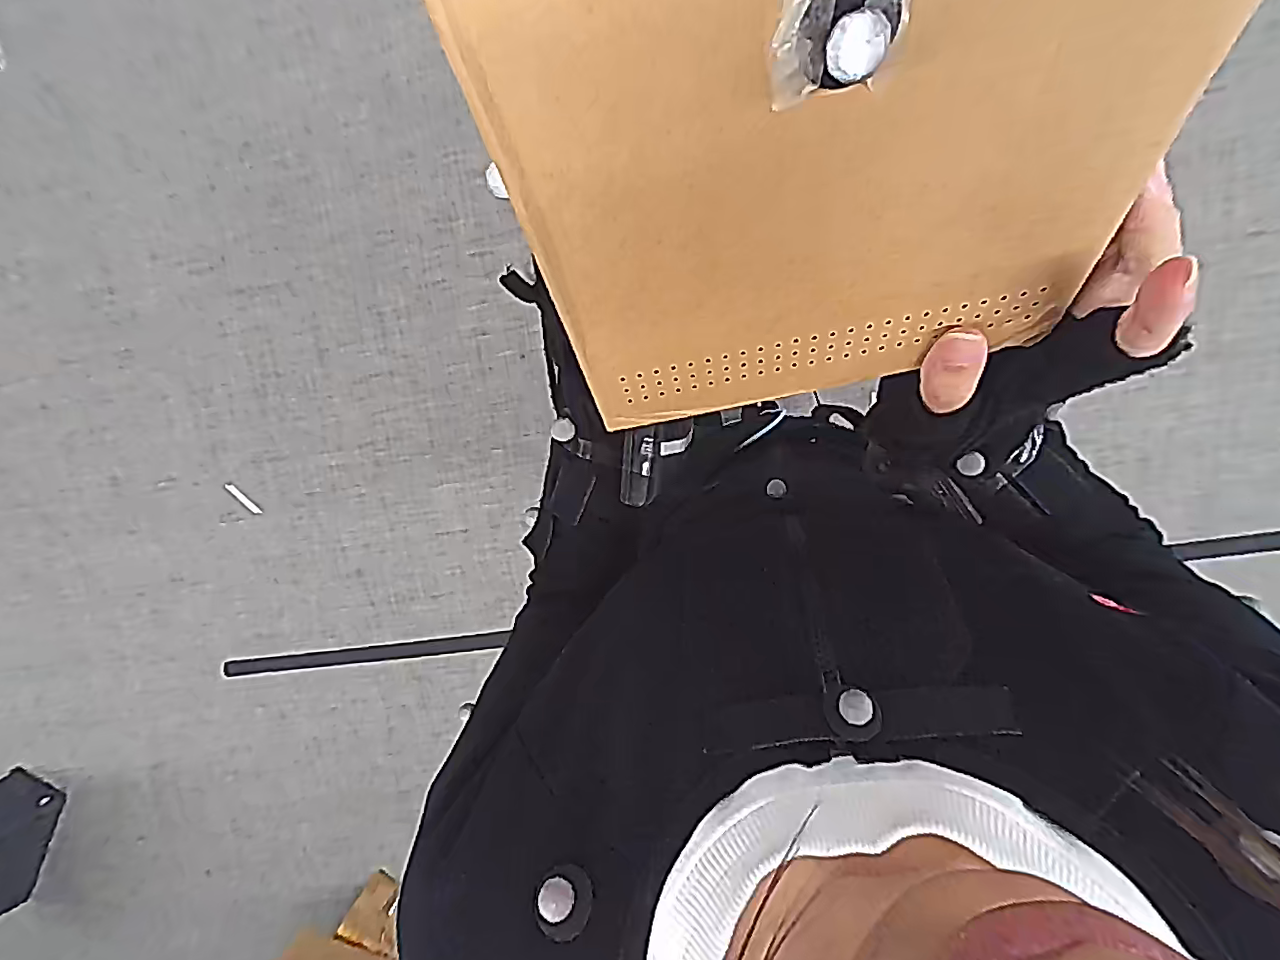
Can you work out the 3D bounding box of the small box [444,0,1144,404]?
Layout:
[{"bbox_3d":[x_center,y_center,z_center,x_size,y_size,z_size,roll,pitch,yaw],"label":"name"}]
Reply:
[{"bbox_3d":[0.048,-0.150,0.209,0.179,0.176,0.168,-11,59,7],"label":"small box"}]
